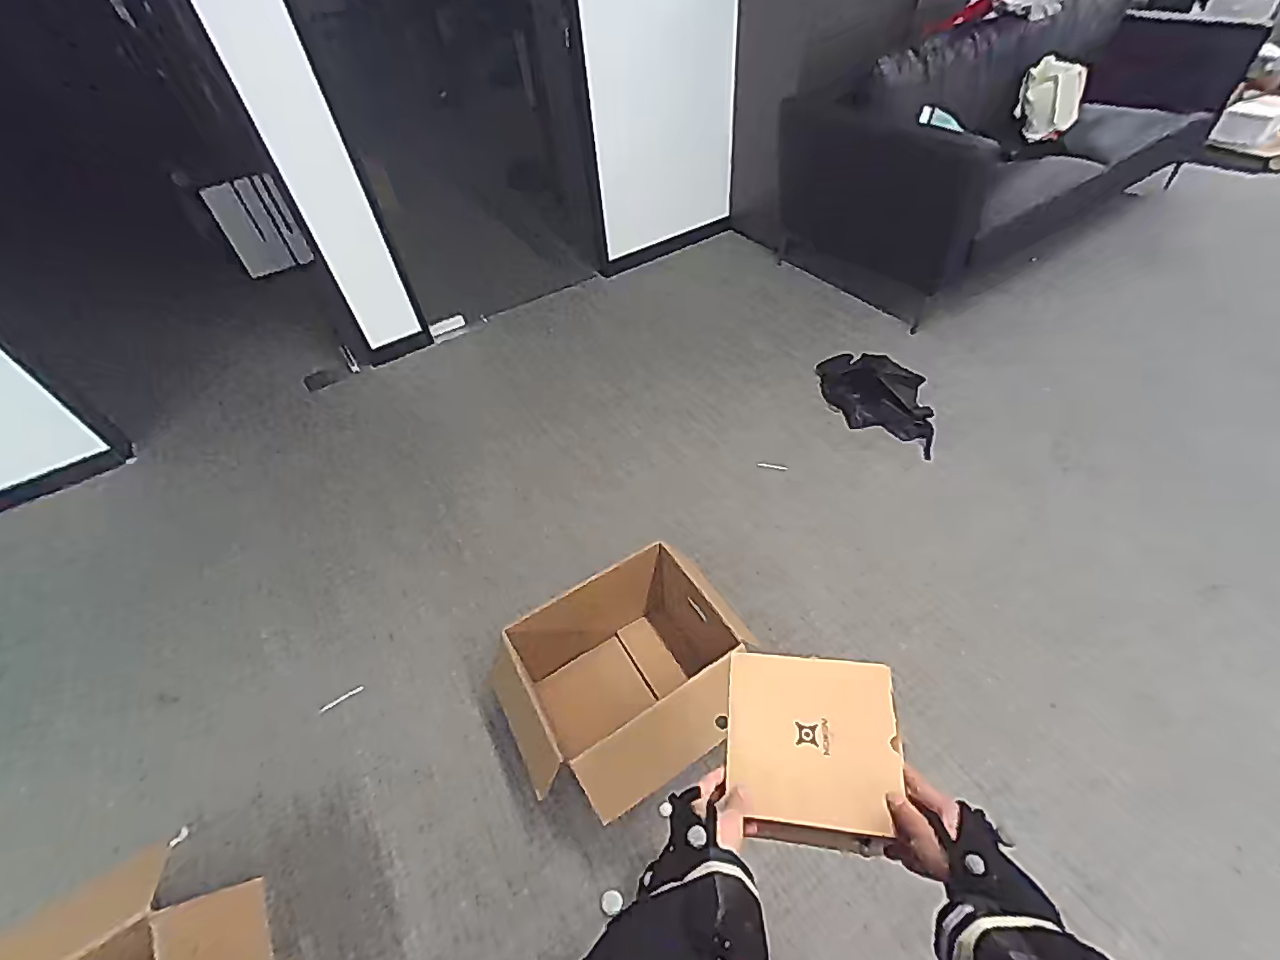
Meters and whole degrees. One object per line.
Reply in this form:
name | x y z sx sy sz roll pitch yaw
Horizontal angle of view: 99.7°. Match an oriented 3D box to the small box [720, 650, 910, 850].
small box | 0.187 0.312 0.622 0.179 0.176 0.168 1 52 11
